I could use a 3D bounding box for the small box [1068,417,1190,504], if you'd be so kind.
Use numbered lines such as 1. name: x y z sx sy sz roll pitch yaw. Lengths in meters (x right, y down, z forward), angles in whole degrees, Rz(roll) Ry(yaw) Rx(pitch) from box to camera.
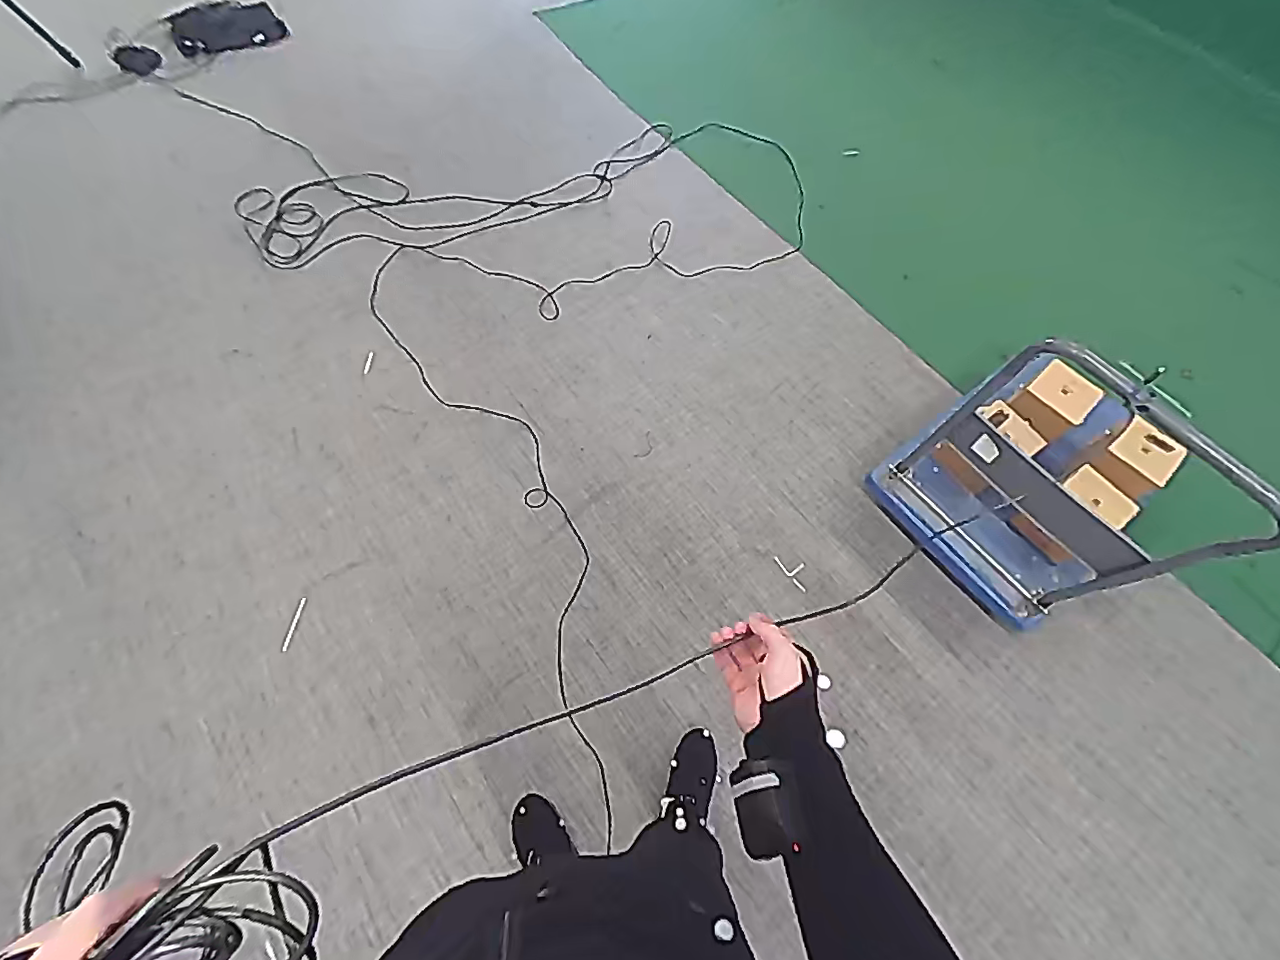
1. small box: 1.390 -0.042 1.551 0.179 0.176 0.168 -38 71 -18

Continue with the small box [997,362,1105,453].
1. small box: 1.222 -0.213 1.626 0.179 0.176 0.168 -38 72 -19

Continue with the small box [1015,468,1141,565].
1. small box: 1.177 0.102 1.468 0.179 0.176 0.168 -33 70 -17
